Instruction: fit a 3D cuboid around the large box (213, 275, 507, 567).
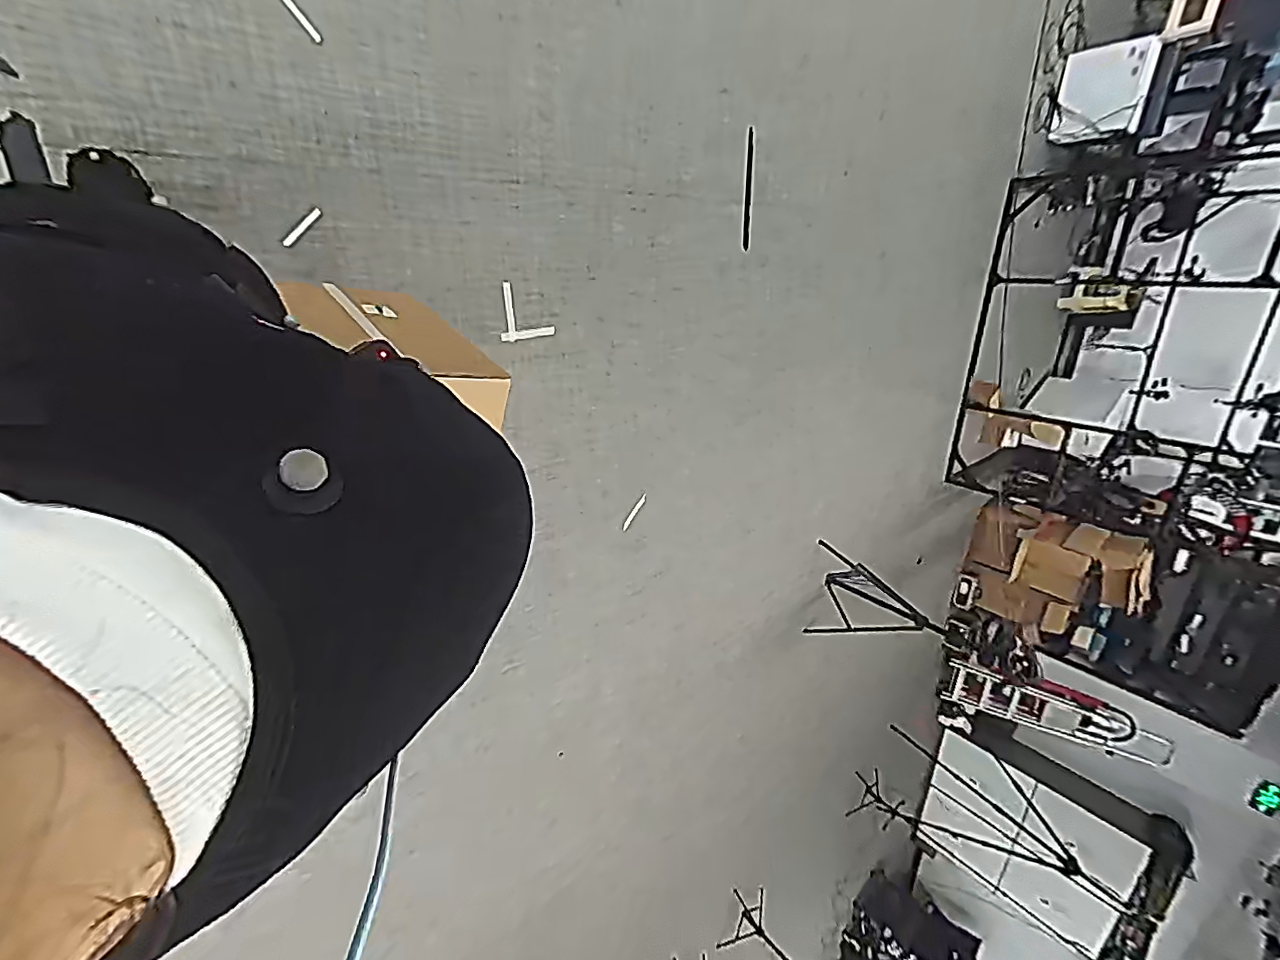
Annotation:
[{"bbox_3d":[-0.480,-0.115,0.911,0.320,0.408,0.320,-8,126,-44],"label":"large box"}]
